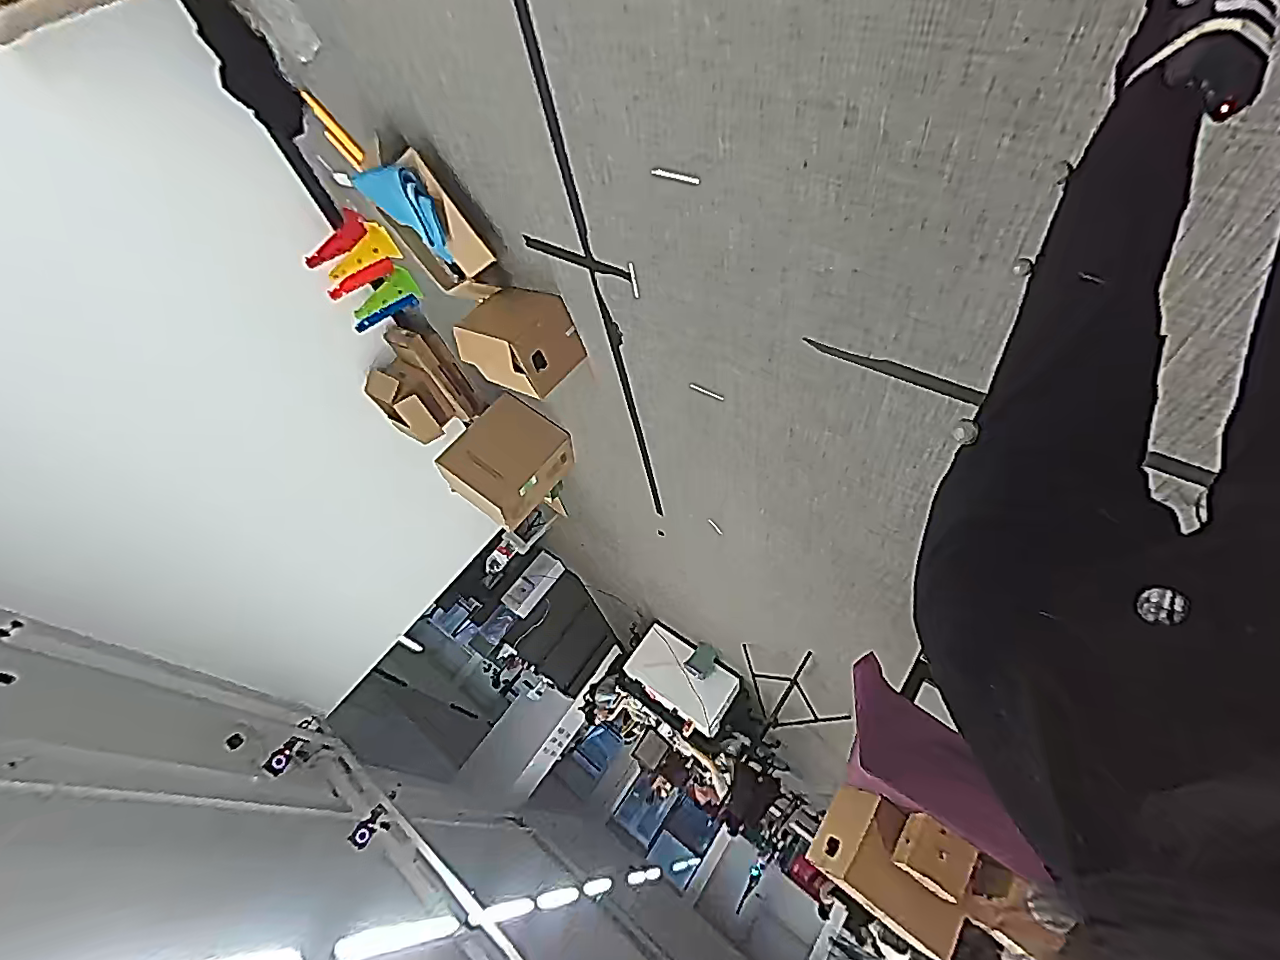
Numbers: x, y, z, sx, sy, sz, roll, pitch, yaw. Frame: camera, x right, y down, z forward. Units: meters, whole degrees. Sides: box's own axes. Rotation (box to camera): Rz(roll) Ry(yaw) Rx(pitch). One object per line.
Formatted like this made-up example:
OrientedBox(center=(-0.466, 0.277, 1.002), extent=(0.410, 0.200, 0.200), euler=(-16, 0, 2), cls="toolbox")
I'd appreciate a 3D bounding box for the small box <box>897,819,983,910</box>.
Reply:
OrientedBox(center=(0.941, 1.195, 1.693), extent=(0.168, 0.176, 0.179), euler=(30, 156, 26), cls="small box")
